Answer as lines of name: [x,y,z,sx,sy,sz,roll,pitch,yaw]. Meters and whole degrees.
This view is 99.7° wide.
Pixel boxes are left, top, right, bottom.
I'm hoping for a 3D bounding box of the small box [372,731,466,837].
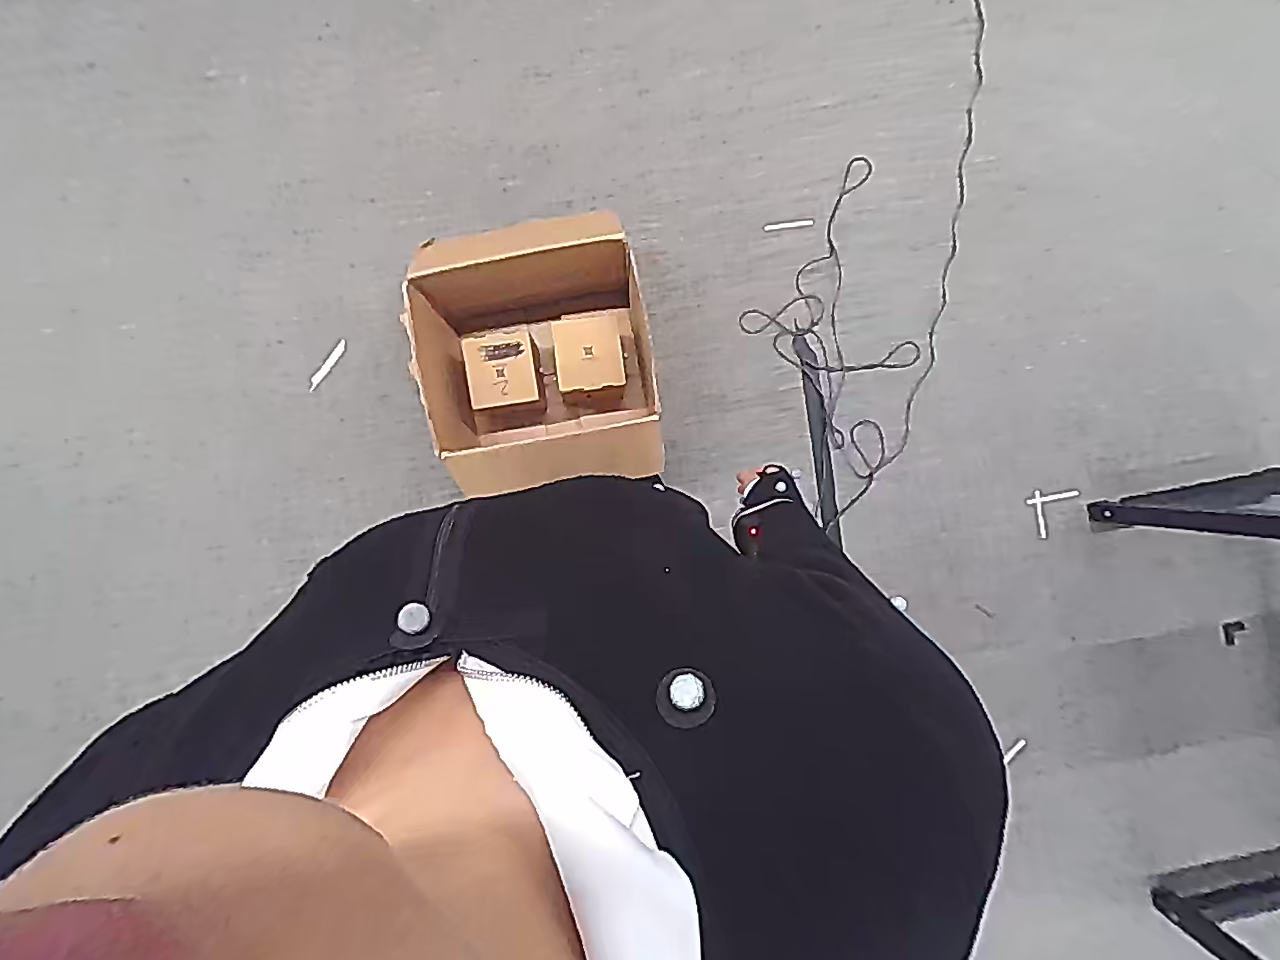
small box: [-0.546,0.753,1.360,0.179,0.176,0.168,-5,91,-4]
